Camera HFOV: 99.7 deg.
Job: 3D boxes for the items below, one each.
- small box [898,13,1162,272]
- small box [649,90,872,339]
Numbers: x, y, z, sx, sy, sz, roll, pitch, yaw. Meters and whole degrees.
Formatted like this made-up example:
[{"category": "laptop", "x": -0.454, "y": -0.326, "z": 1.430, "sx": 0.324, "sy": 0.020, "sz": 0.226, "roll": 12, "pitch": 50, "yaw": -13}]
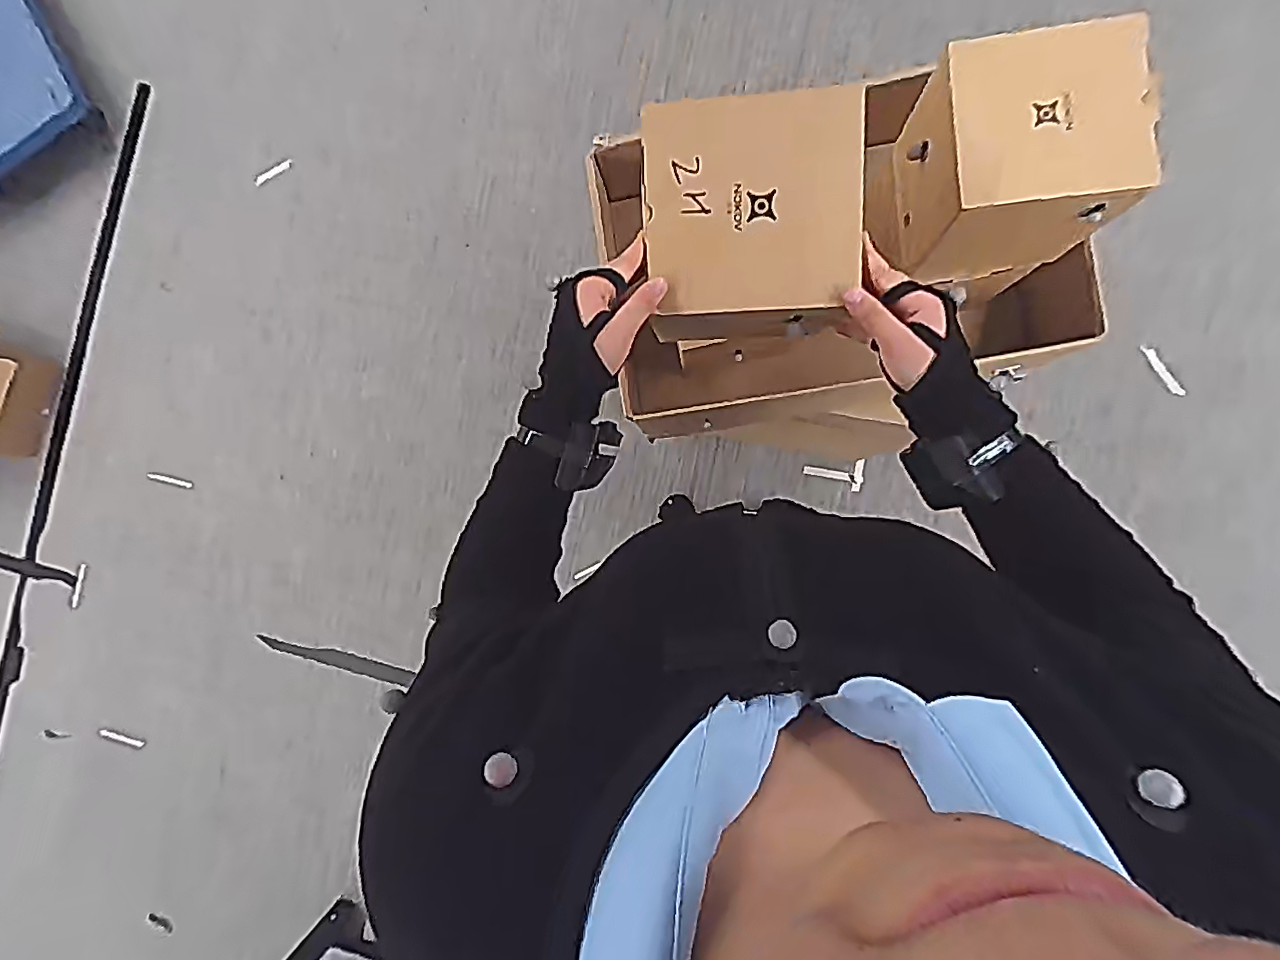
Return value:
[{"category": "small box", "x": 0.395, "y": -0.342, "z": 0.586, "sx": 0.179, "sy": 0.176, "sz": 0.168, "roll": -4, "pitch": 88, "yaw": 7}, {"category": "small box", "x": 0.102, "y": -0.229, "z": 0.512, "sx": 0.179, "sy": 0.176, "sz": 0.168, "roll": 0, "pitch": 96, "yaw": 6}]
